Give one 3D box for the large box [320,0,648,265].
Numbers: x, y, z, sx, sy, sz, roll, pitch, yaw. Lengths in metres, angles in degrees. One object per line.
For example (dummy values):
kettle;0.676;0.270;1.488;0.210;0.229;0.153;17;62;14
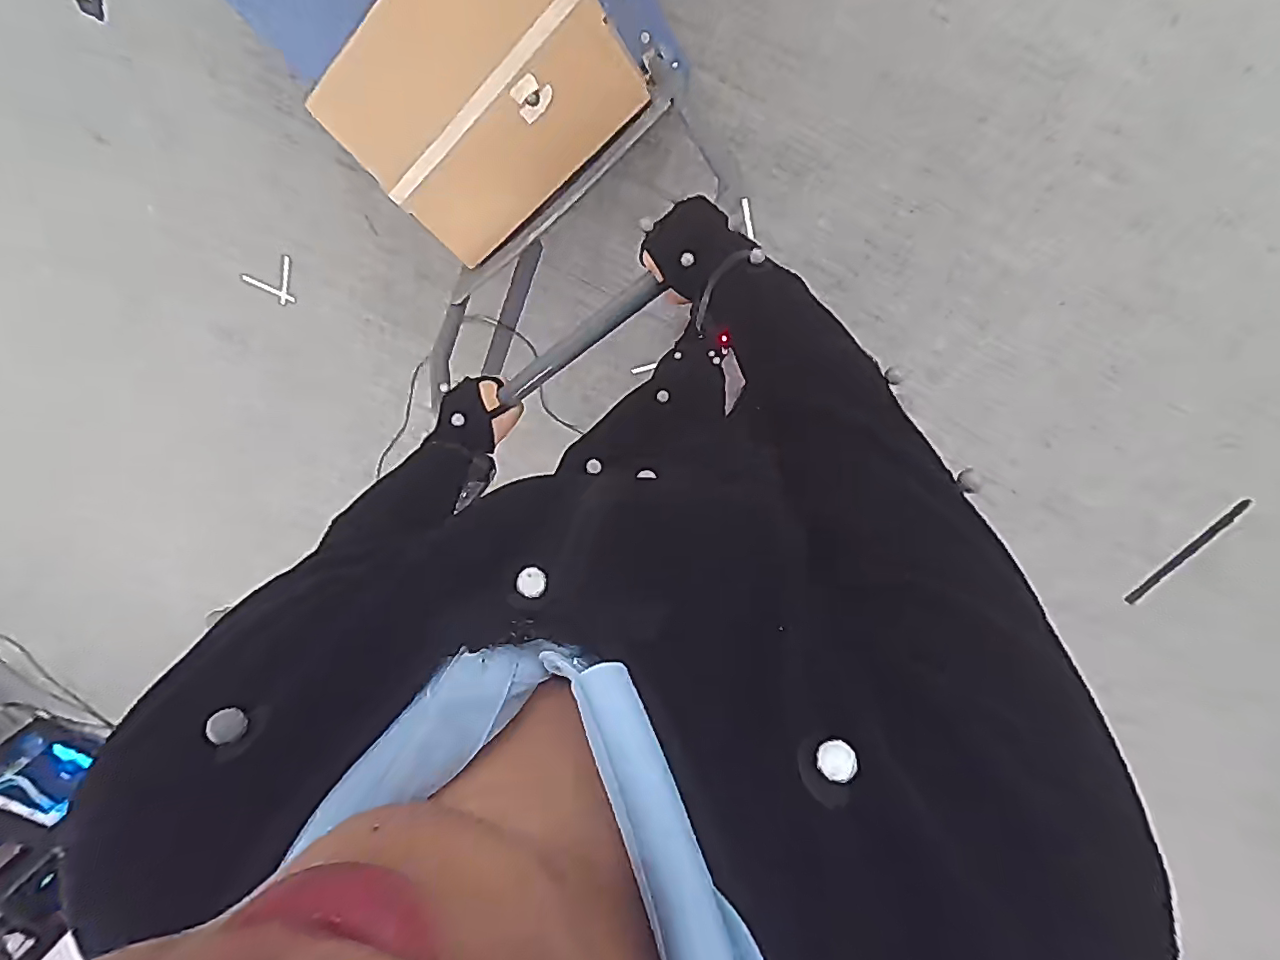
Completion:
large box;-0.239;-0.660;0.915;0.408;0.320;0.320;-33;126;23
